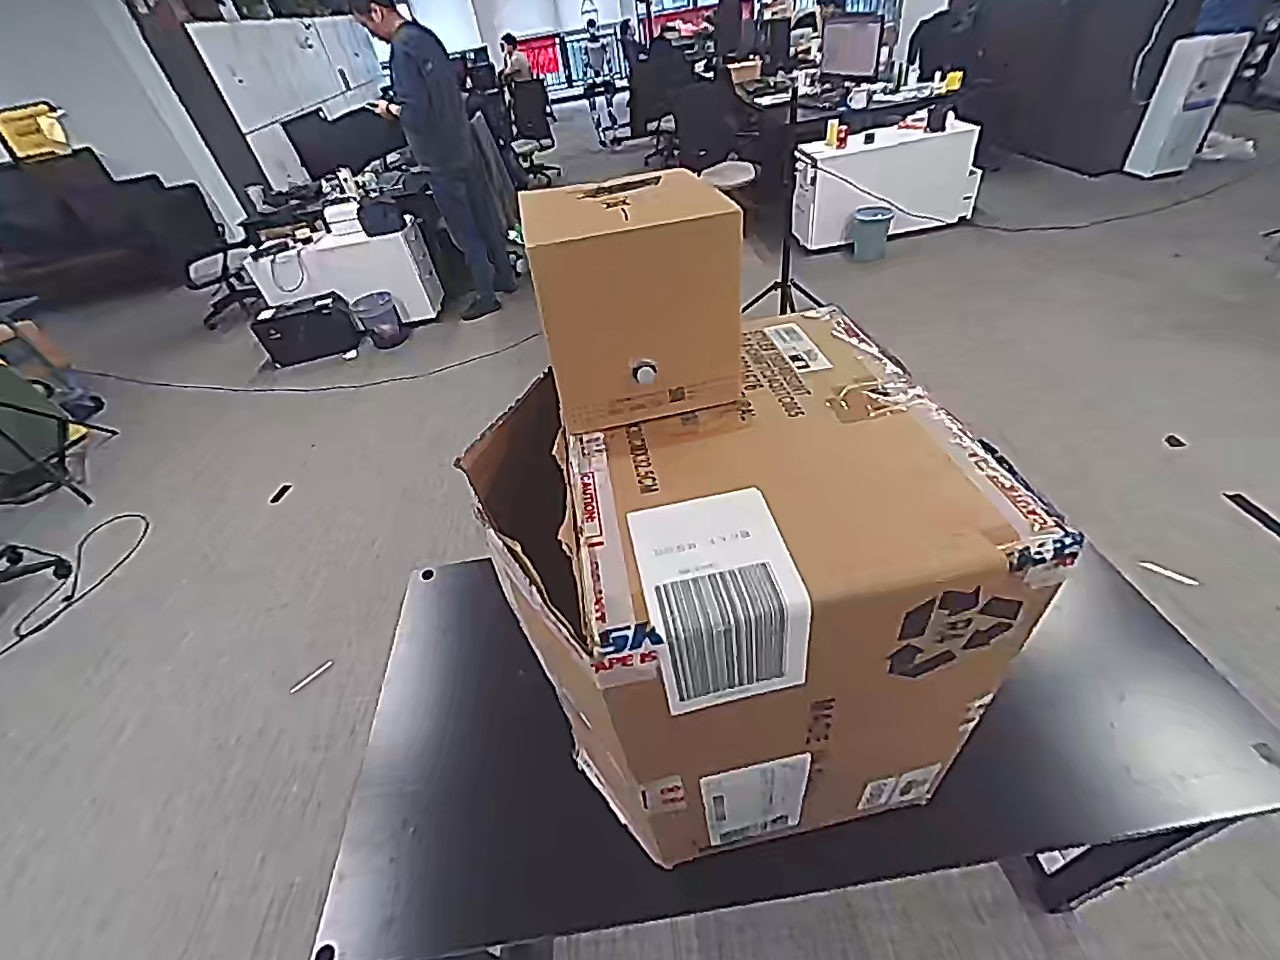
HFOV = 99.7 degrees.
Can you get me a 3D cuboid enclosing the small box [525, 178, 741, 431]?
[{"bbox_3d":[-0.010,-0.171,0.518,0.168,0.176,0.179,-12,40,-5],"label":"small box"}]
